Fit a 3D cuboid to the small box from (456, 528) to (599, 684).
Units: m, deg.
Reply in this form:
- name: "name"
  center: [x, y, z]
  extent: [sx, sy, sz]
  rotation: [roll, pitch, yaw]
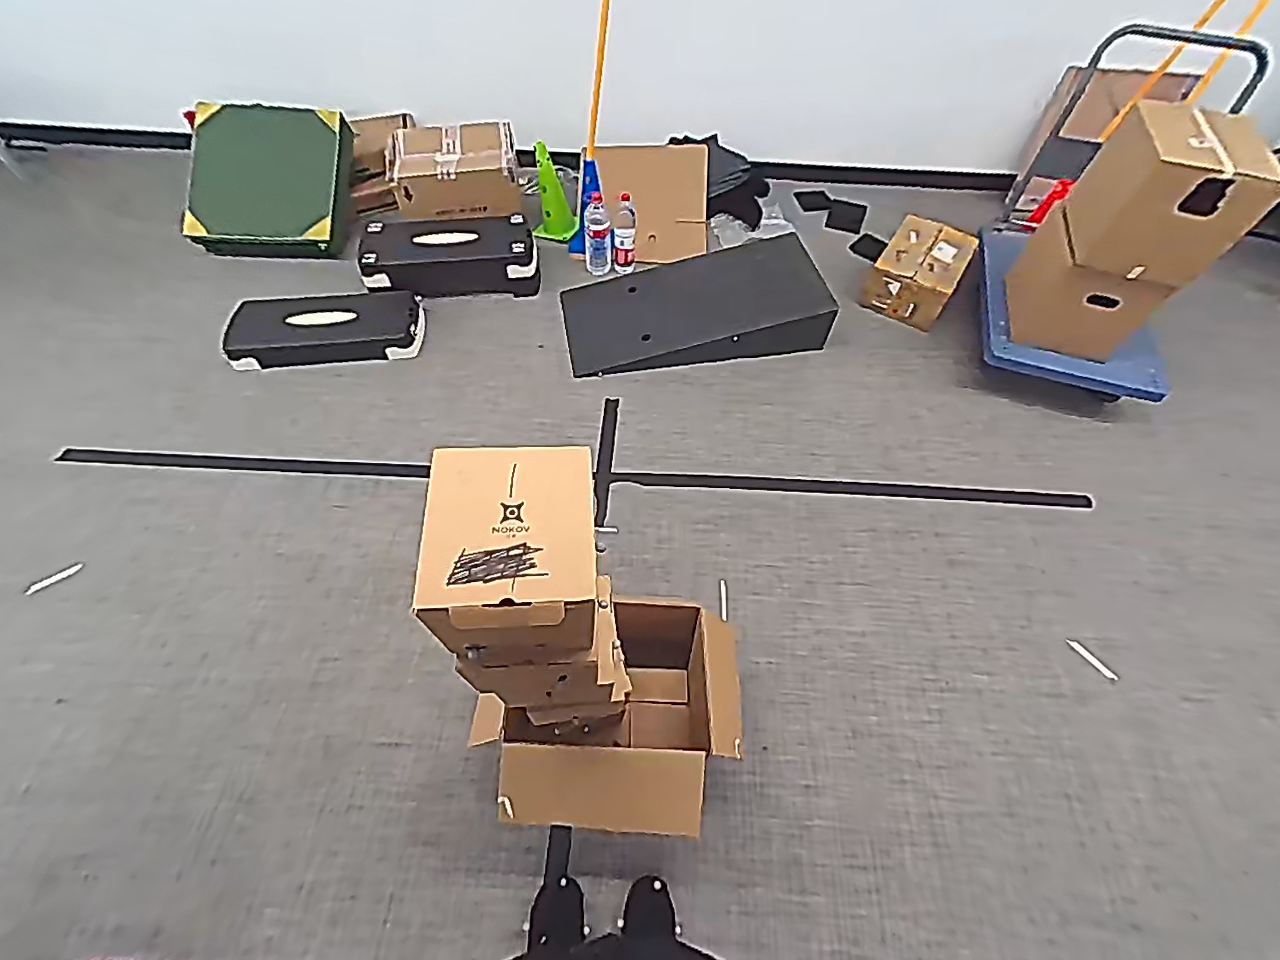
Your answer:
- name: "small box"
  center: [-0.139, 0.175, 0.733]
  extent: [0.168, 0.176, 0.179]
  rotation: [0, 60, -6]

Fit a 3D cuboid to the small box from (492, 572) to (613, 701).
- name: "small box"
  center: [-0.134, 0.257, 0.875]
  extent: [0.179, 0.176, 0.168]
  rotation: [-1, 61, -6]

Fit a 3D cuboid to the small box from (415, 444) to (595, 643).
- name: "small box"
  center: [-0.133, 0.077, 0.600]
  extent: [0.168, 0.176, 0.179]
  rotation: [-1, 60, -7]

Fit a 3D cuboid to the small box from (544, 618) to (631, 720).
- name: "small box"
  center: [-0.129, 0.405, 1.170]
  extent: [0.179, 0.176, 0.168]
  rotation: [-13, 61, -14]
